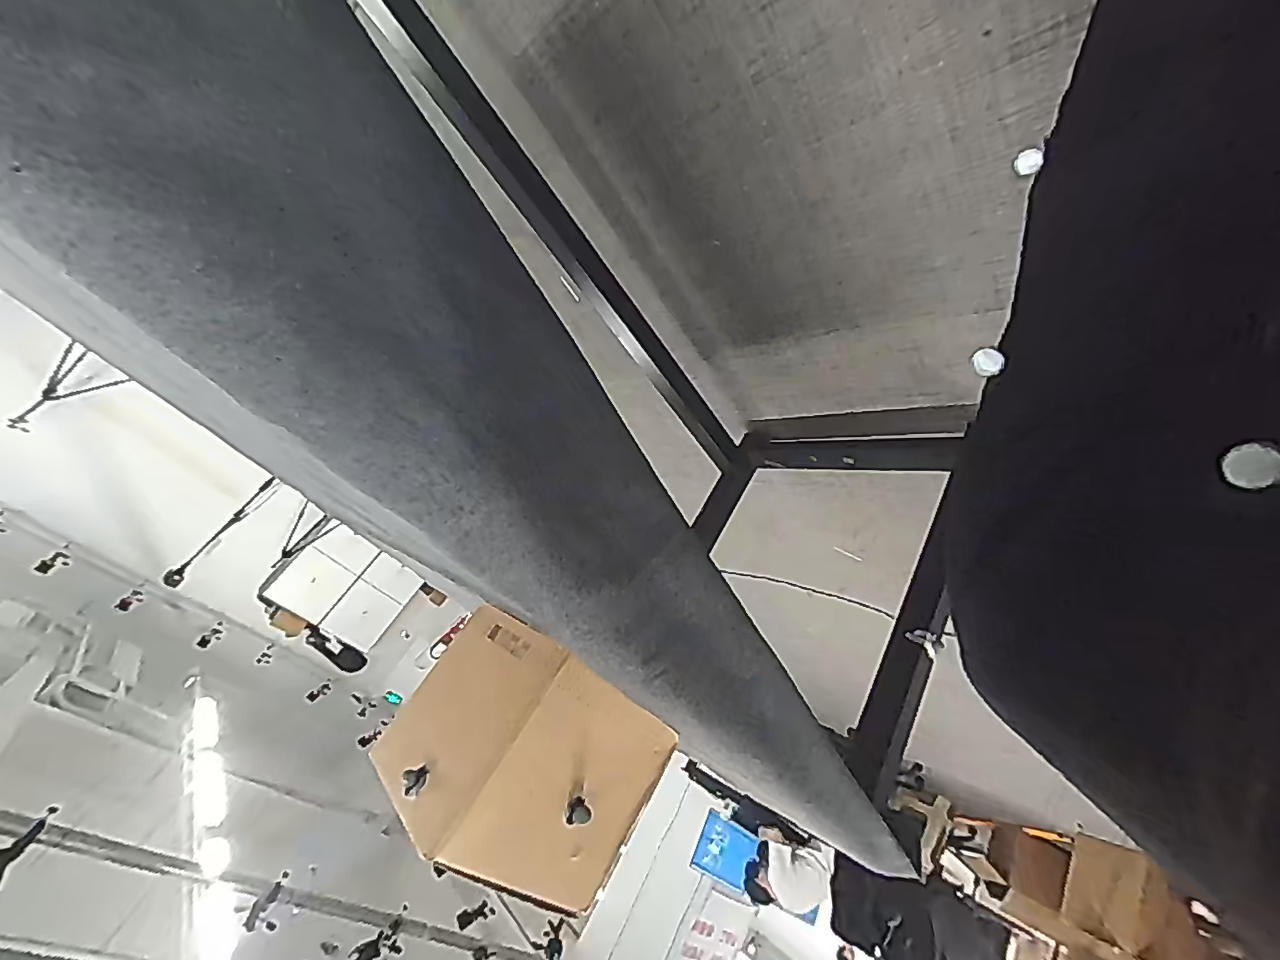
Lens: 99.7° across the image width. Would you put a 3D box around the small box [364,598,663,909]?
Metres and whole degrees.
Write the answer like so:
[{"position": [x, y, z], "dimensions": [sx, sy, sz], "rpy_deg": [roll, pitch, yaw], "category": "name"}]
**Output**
[{"position": [-0.110, 0.239, 0.502], "dimensions": [0.168, 0.176, 0.179], "rpy_deg": [5, 144, 51], "category": "small box"}]
